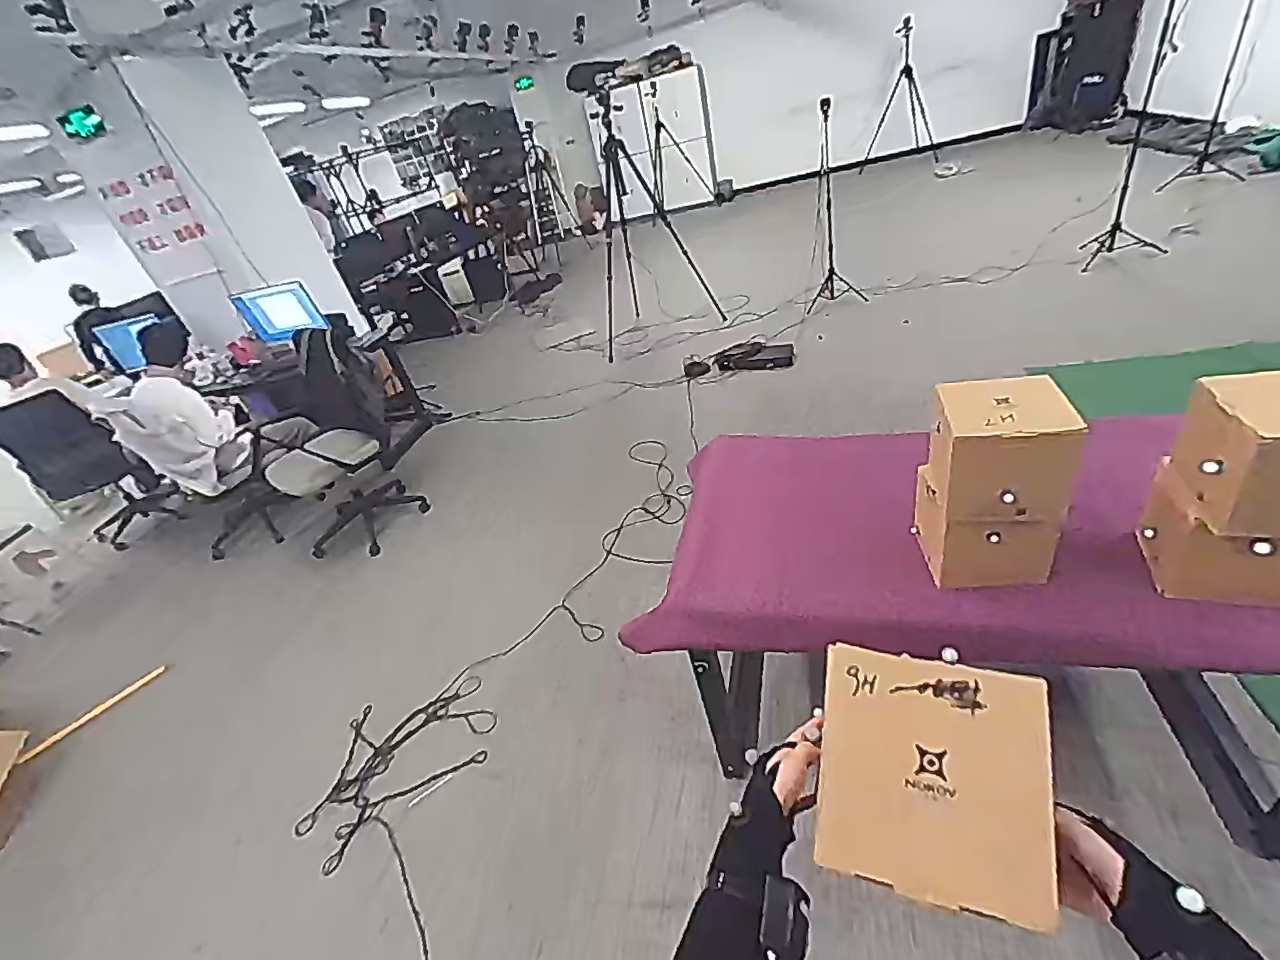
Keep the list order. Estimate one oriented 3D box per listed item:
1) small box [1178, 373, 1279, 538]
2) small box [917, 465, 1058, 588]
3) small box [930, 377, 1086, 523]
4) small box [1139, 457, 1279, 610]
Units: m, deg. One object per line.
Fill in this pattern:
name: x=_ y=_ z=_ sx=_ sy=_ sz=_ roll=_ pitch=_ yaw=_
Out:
small box: x=0.876 y=-0.033 z=0.727 sx=0.179 sy=0.176 sz=0.168 roll=-1 pitch=36 yaw=23
small box: x=0.614 y=0.079 z=0.974 sx=0.179 sy=0.176 sz=0.168 roll=-6 pitch=35 yaw=14
small box: x=0.577 y=-0.049 z=0.876 sx=0.168 sy=0.176 sz=0.179 roll=-2 pitch=36 yaw=20
small box: x=0.925 y=0.081 z=0.837 sx=0.179 sy=0.176 sz=0.168 roll=2 pitch=36 yaw=28
